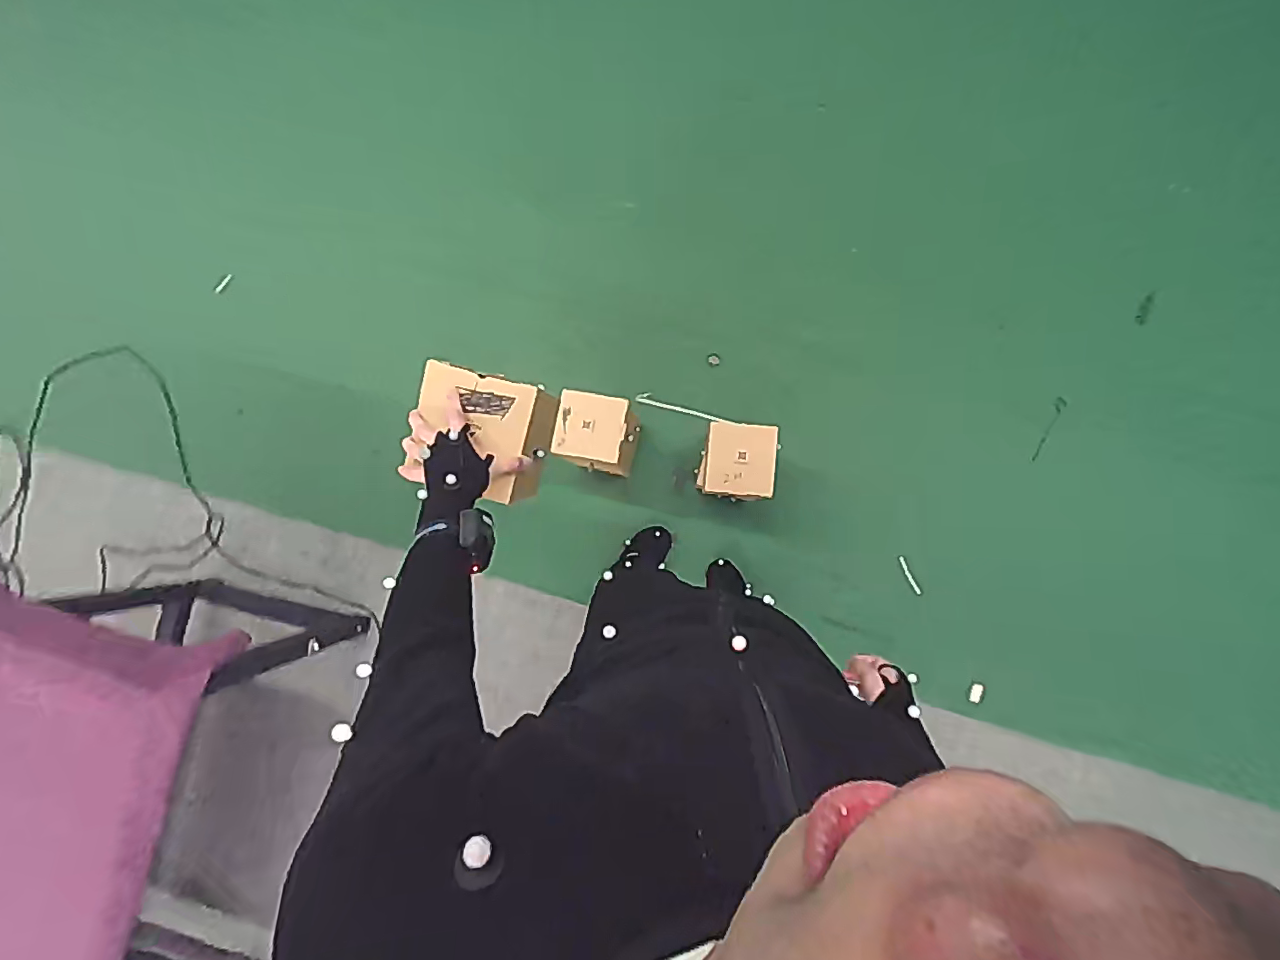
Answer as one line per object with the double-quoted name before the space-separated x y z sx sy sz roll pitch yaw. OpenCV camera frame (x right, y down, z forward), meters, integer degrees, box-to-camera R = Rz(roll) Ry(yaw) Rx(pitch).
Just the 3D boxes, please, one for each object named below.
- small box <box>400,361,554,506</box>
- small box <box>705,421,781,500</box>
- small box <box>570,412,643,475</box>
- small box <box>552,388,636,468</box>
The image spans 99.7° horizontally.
"small box" -0.243 -0.070 0.851 0.168 0.176 0.179 15 95 3
"small box" 0.258 -0.046 1.385 0.168 0.176 0.179 6 88 6
"small box" -0.092 -0.119 1.590 0.168 0.176 0.179 14 88 6
"small box" -0.112 -0.131 1.427 0.179 0.176 0.168 12 86 6
